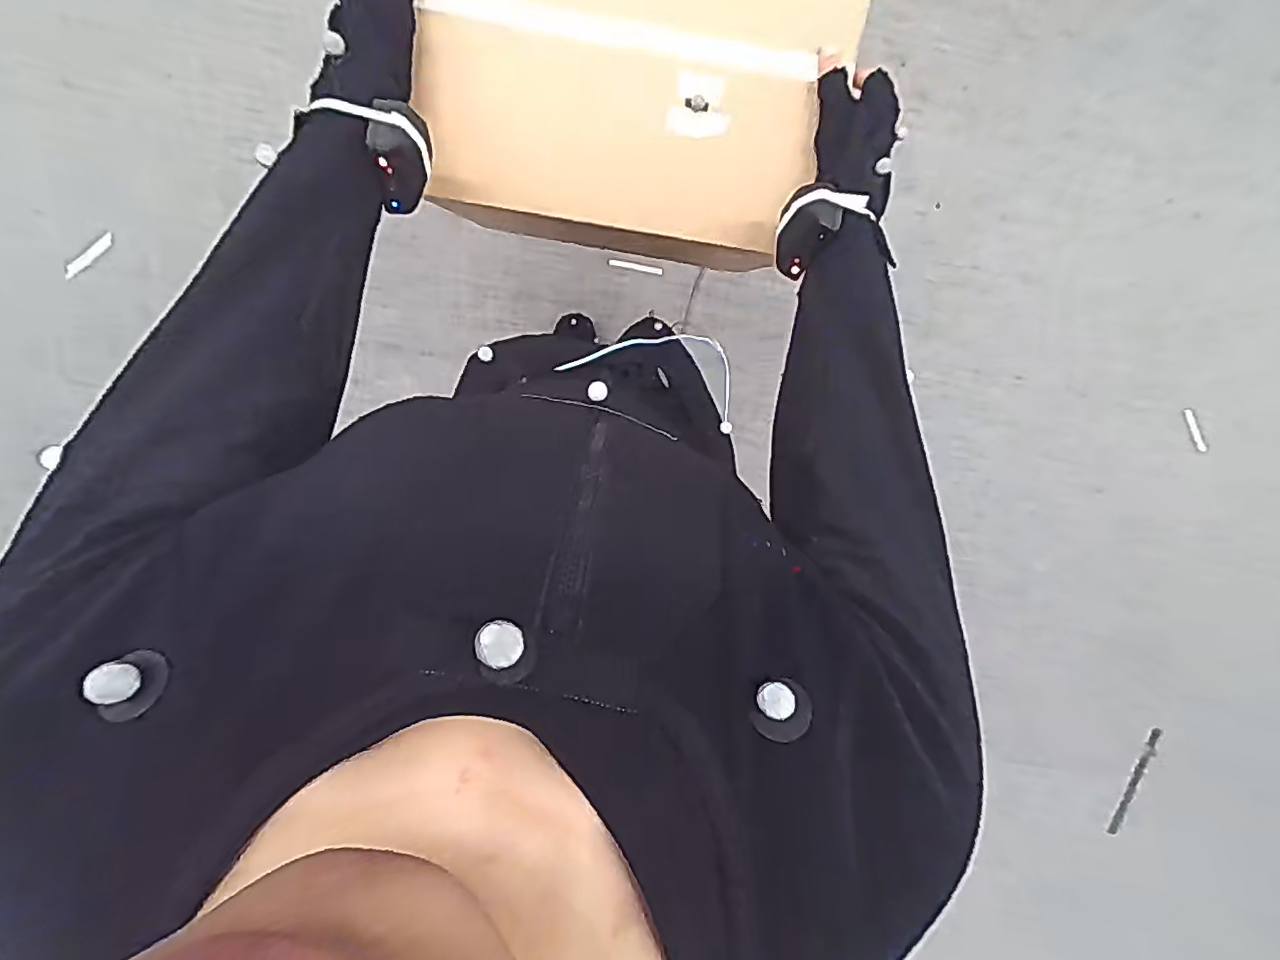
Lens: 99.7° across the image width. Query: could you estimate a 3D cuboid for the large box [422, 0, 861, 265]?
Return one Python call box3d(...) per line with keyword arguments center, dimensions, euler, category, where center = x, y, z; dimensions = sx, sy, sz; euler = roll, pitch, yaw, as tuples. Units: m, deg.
box3d(center=(-0.008, -0.453, 0.643), dimensions=(0.408, 0.320, 0.320), euler=(7, 109, -5), category="large box")
